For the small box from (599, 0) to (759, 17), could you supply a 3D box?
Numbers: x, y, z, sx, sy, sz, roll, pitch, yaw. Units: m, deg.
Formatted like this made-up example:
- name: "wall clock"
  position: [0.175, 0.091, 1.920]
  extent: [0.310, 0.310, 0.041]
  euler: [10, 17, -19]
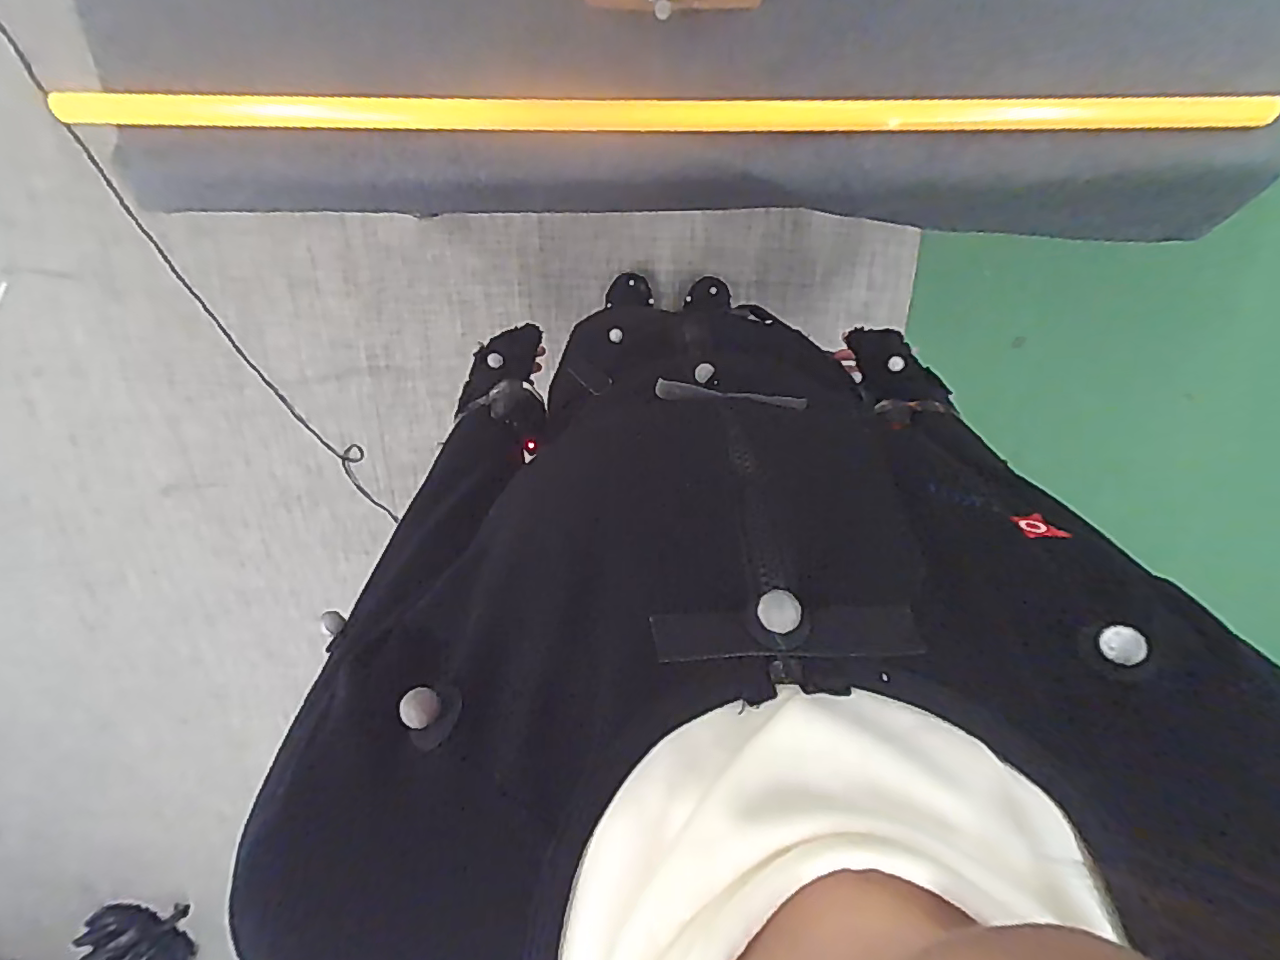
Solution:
- name: "small box"
  position: [0.033, -0.505, 0.421]
  extent: [0.168, 0.176, 0.179]
  euler: [-1, 112, 2]
